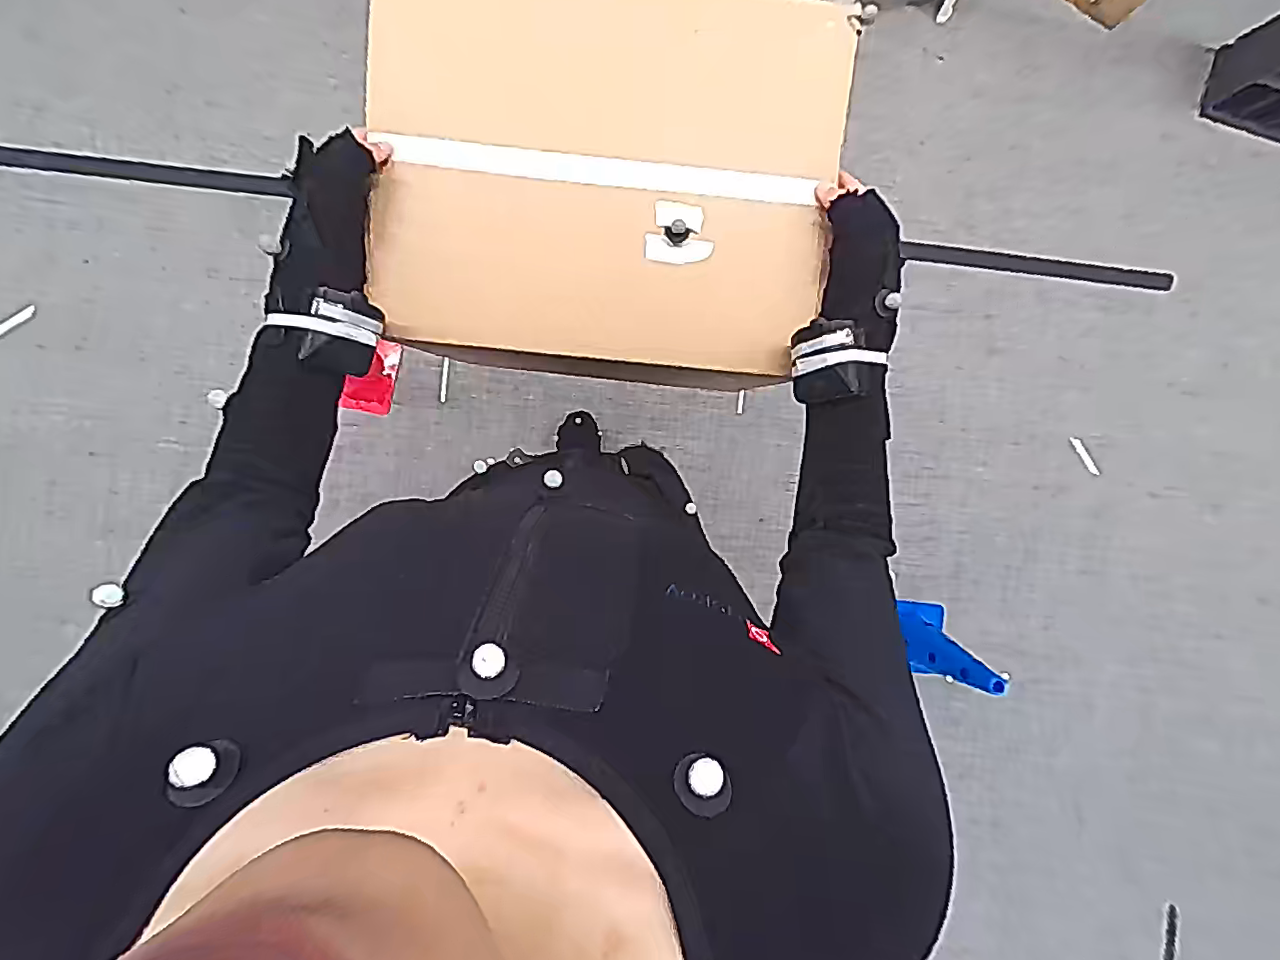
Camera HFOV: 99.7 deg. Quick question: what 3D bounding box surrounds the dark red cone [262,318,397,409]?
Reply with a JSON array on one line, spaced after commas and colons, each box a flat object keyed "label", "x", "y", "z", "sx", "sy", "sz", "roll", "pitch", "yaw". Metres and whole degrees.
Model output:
[{"label": "dark red cone", "x": -0.720, "y": -0.290, "z": 1.222, "sx": 0.201, "sy": 0.394, "sz": 0.202, "roll": 11, "pitch": 91, "yaw": -5}]

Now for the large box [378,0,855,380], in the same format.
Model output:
[{"label": "large box", "x": -0.031, "y": -0.293, "z": 0.618, "sx": 0.408, "sy": 0.320, "sz": 0.320, "roll": 5, "pitch": 98, "yaw": -3}]

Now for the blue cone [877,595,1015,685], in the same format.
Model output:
[{"label": "blue cone", "x": 0.781, "y": 0.427, "z": 1.367, "sx": 0.192, "sy": 0.380, "sz": 0.193, "roll": 8, "pitch": 91, "yaw": -5}]
